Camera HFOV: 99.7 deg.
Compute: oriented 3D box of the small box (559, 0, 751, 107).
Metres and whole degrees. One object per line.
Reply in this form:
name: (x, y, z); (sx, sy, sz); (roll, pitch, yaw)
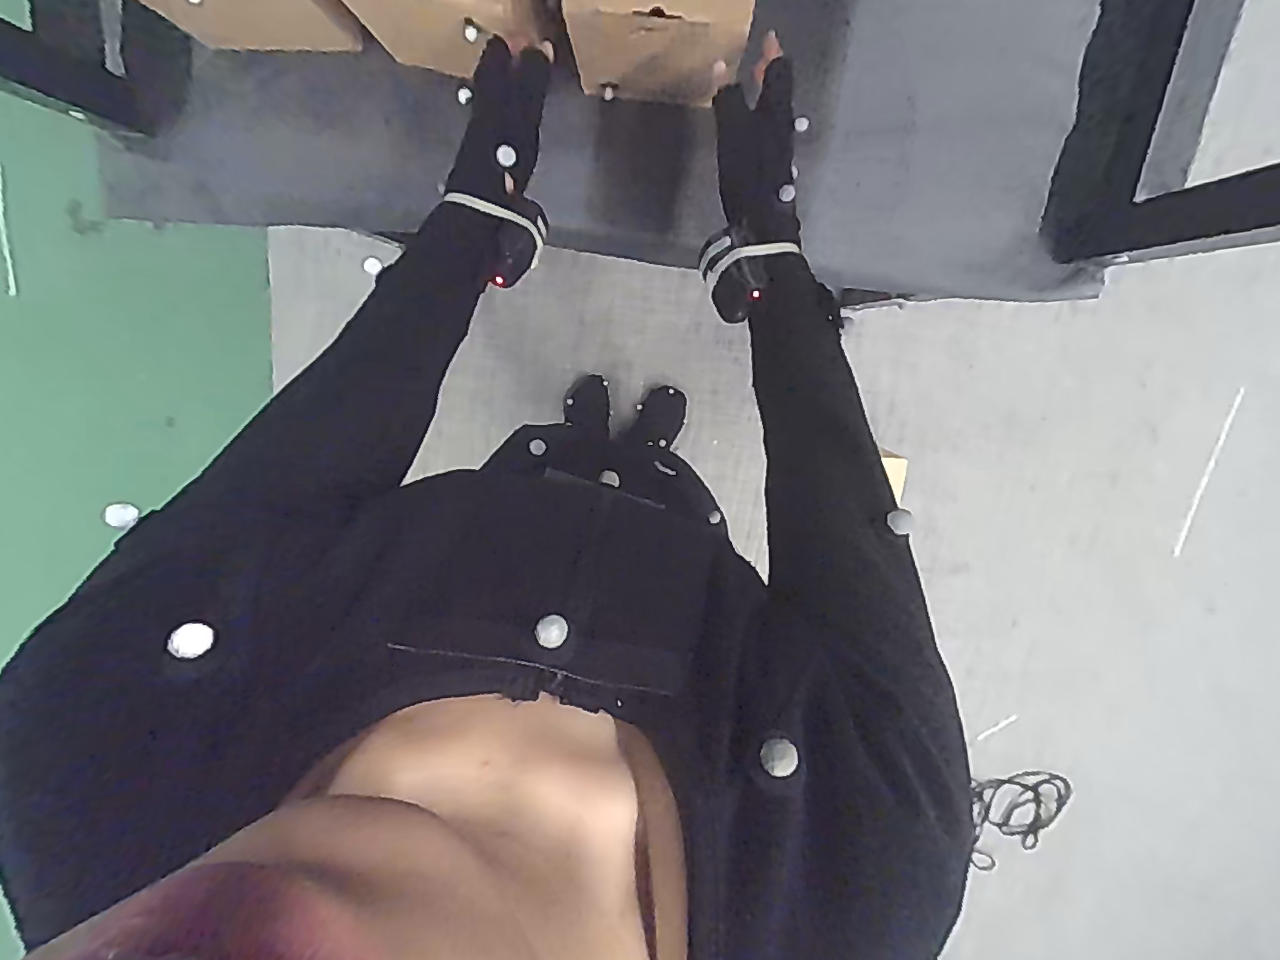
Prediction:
small box: (0.023, -0.492, 0.518); (0.168, 0.176, 0.179); (6, 104, -1)
